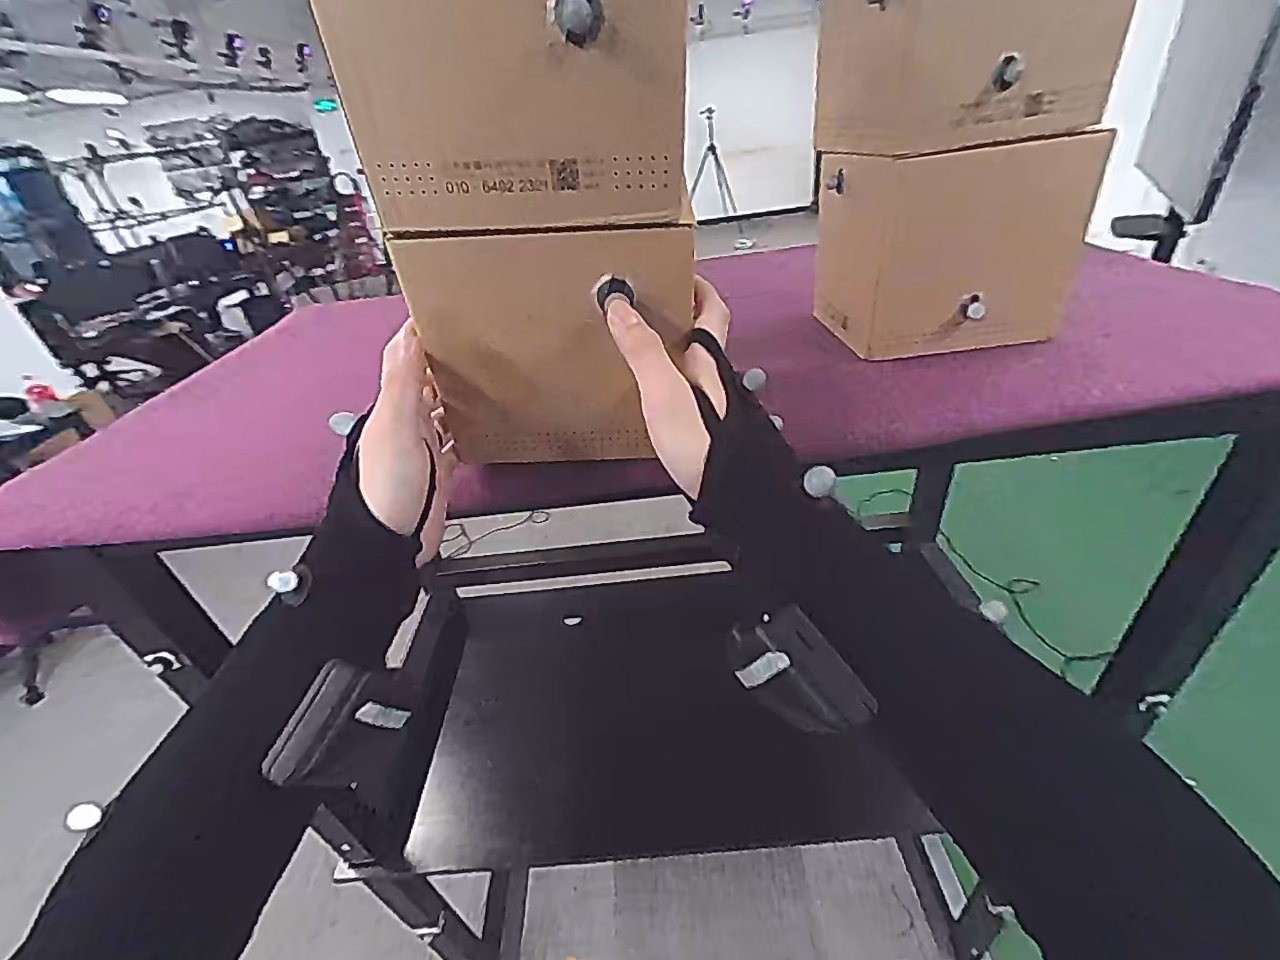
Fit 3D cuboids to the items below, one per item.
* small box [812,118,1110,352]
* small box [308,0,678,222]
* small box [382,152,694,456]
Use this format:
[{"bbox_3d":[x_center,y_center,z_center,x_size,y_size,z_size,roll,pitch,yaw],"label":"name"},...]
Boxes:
[{"bbox_3d":[0.277,-0.236,0.519,0.179,0.176,0.168,-7,32,2],"label":"small box"},{"bbox_3d":[-0.062,-0.253,0.302,0.168,0.176,0.179,0,42,2],"label":"small box"},{"bbox_3d":[-0.053,-0.131,0.409,0.179,0.176,0.168,-1,42,3],"label":"small box"}]
